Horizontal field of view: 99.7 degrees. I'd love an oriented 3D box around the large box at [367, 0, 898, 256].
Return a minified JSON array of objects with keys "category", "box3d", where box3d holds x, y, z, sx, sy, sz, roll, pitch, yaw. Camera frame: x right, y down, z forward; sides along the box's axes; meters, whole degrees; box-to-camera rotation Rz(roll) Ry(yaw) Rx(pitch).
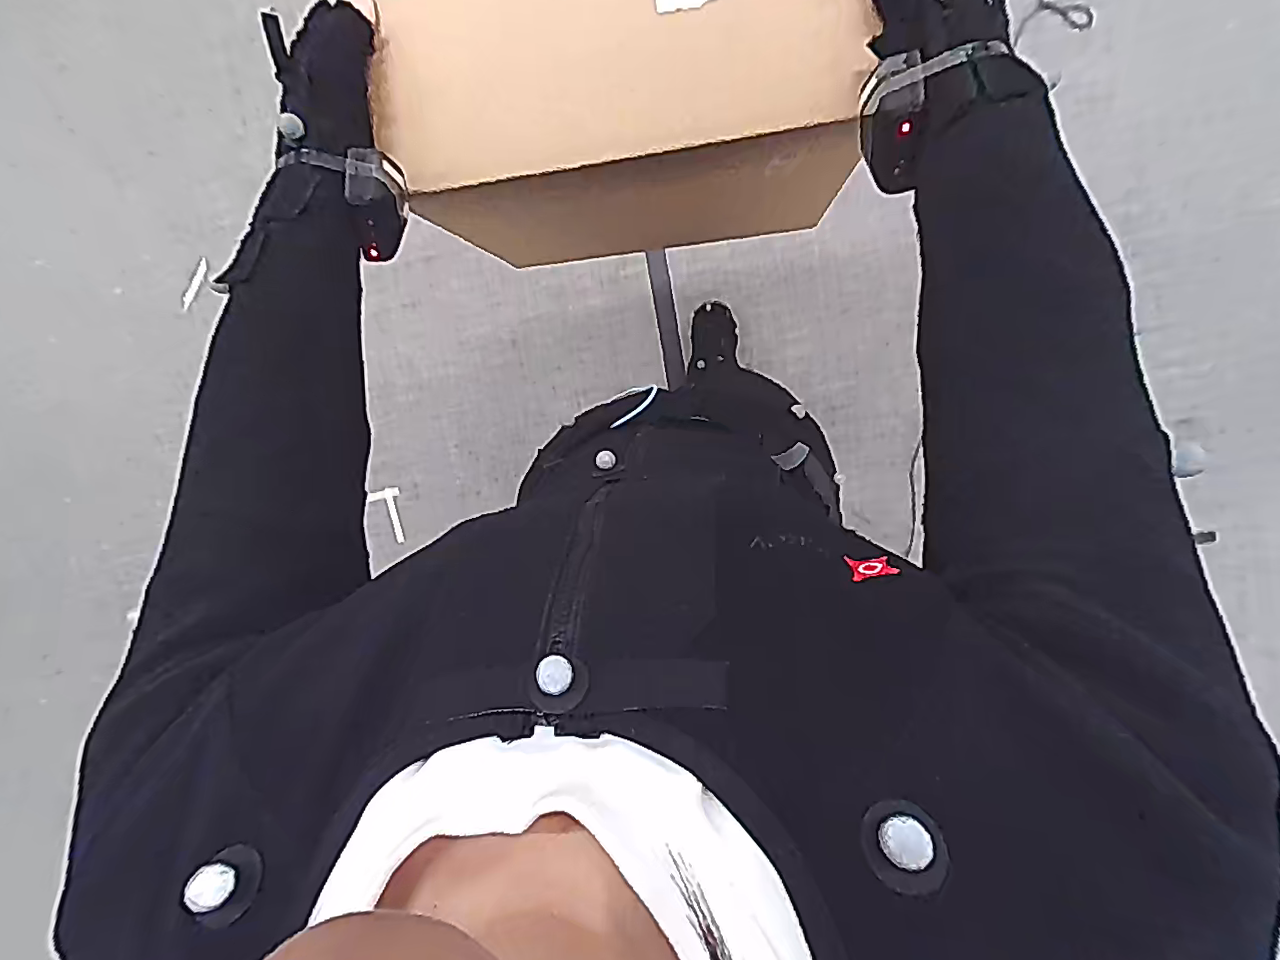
[{"category":"large box","box3d":[-0.007,-0.446,0.544,0.408,0.320,0.320,-5,101,8]}]
